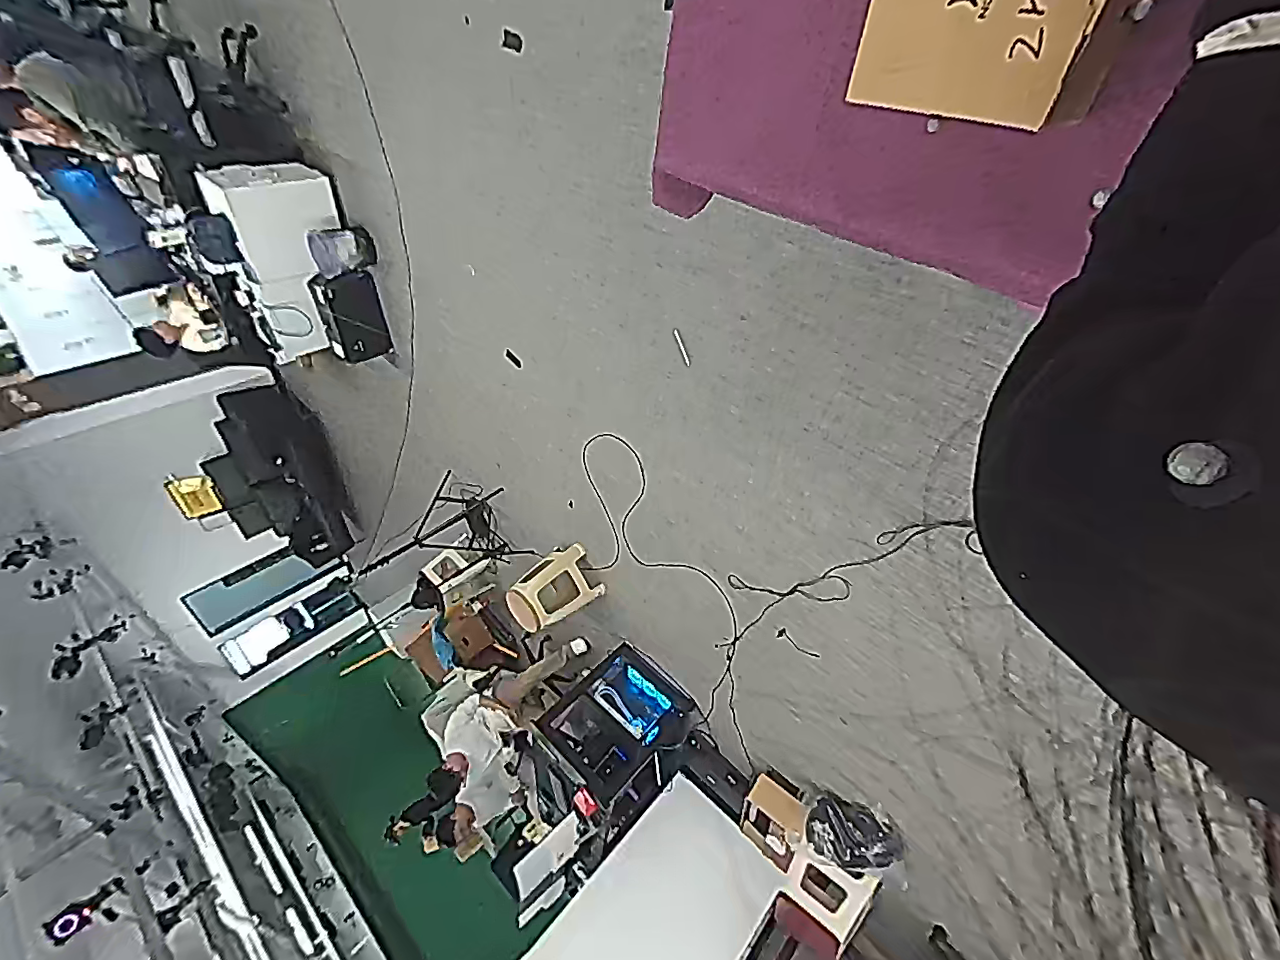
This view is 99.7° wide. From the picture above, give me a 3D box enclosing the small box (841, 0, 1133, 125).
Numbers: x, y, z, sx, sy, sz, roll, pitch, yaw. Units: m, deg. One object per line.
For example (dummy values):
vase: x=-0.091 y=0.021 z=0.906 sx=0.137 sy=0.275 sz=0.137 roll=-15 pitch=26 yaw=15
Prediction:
small box: x=0.316 y=-0.425 z=0.473 sx=0.179 sy=0.176 sz=0.168 roll=33 pitch=138 yaw=28
